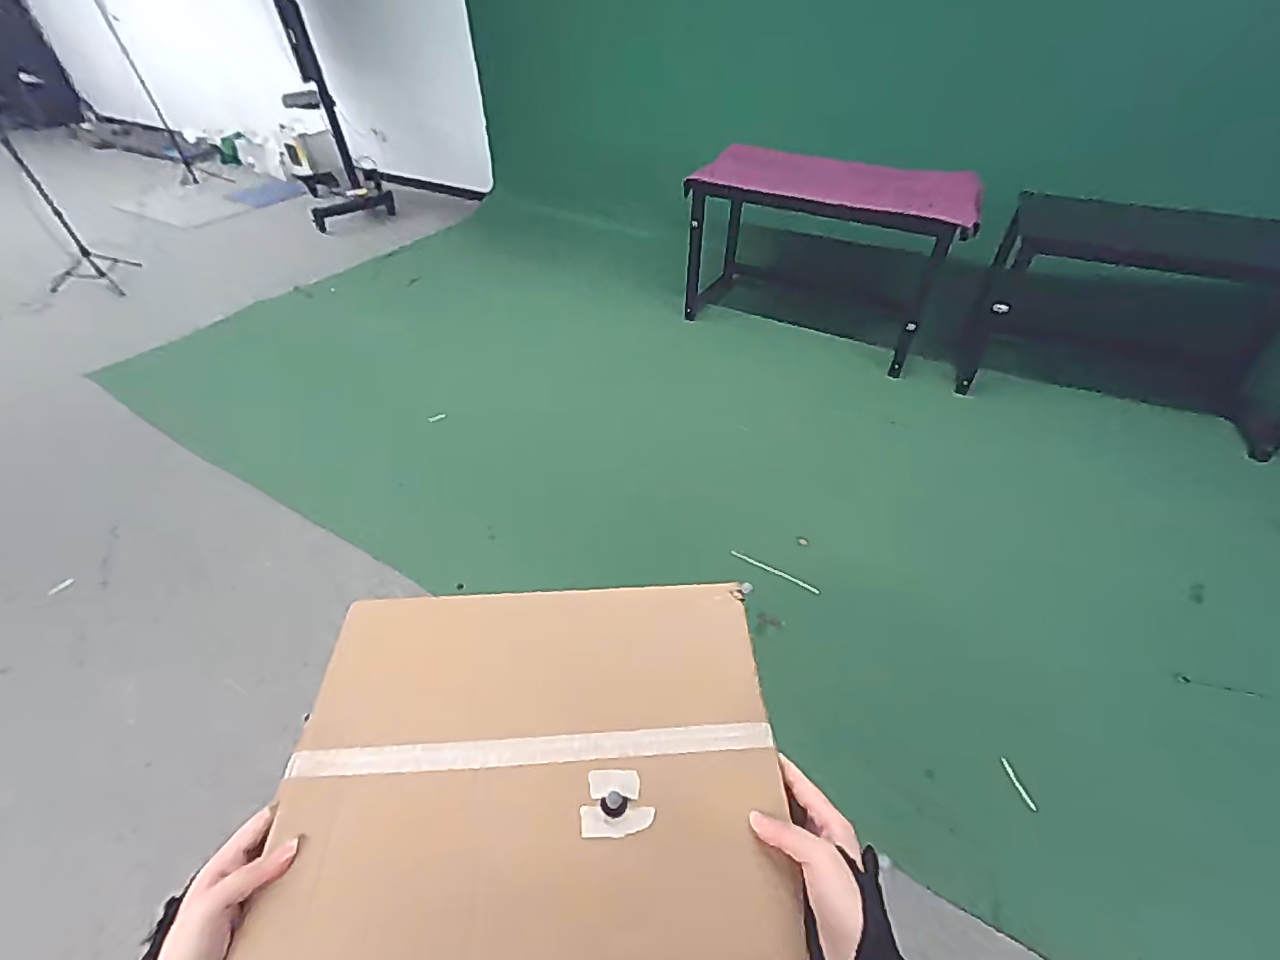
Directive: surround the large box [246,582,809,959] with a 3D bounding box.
[{"bbox_3d":[-0.089,0.333,0.583,0.408,0.320,0.320,-2,47,-3],"label":"large box"}]
